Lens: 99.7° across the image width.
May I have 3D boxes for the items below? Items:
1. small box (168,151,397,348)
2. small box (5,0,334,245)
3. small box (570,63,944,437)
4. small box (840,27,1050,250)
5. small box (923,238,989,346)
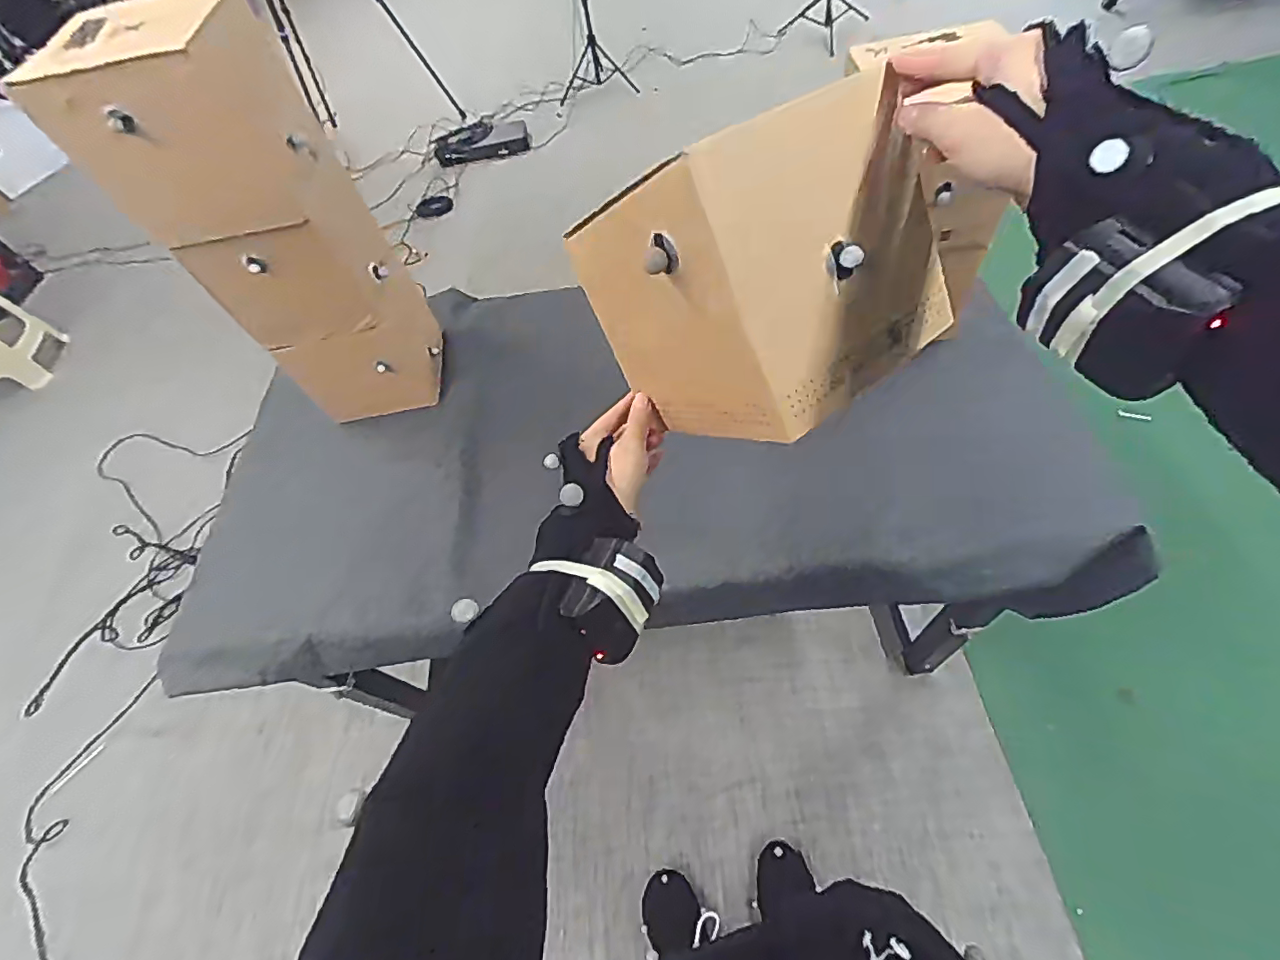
[{"bbox_3d":[-0.457,-0.300,0.726,0.179,0.176,0.168,-11,59,1],"label":"small box"},{"bbox_3d":[-0.475,-0.379,0.582,0.179,0.176,0.168,-9,58,2],"label":"small box"},{"bbox_3d":[0.081,-0.142,0.389,0.168,0.176,0.179,-33,21,-20],"label":"small box"},{"bbox_3d":[0.335,-0.393,0.650,0.168,0.176,0.179,-6,59,6],"label":"small box"},{"bbox_3d":[0.362,-0.312,0.790,0.168,0.176,0.179,-6,58,6],"label":"small box"}]
